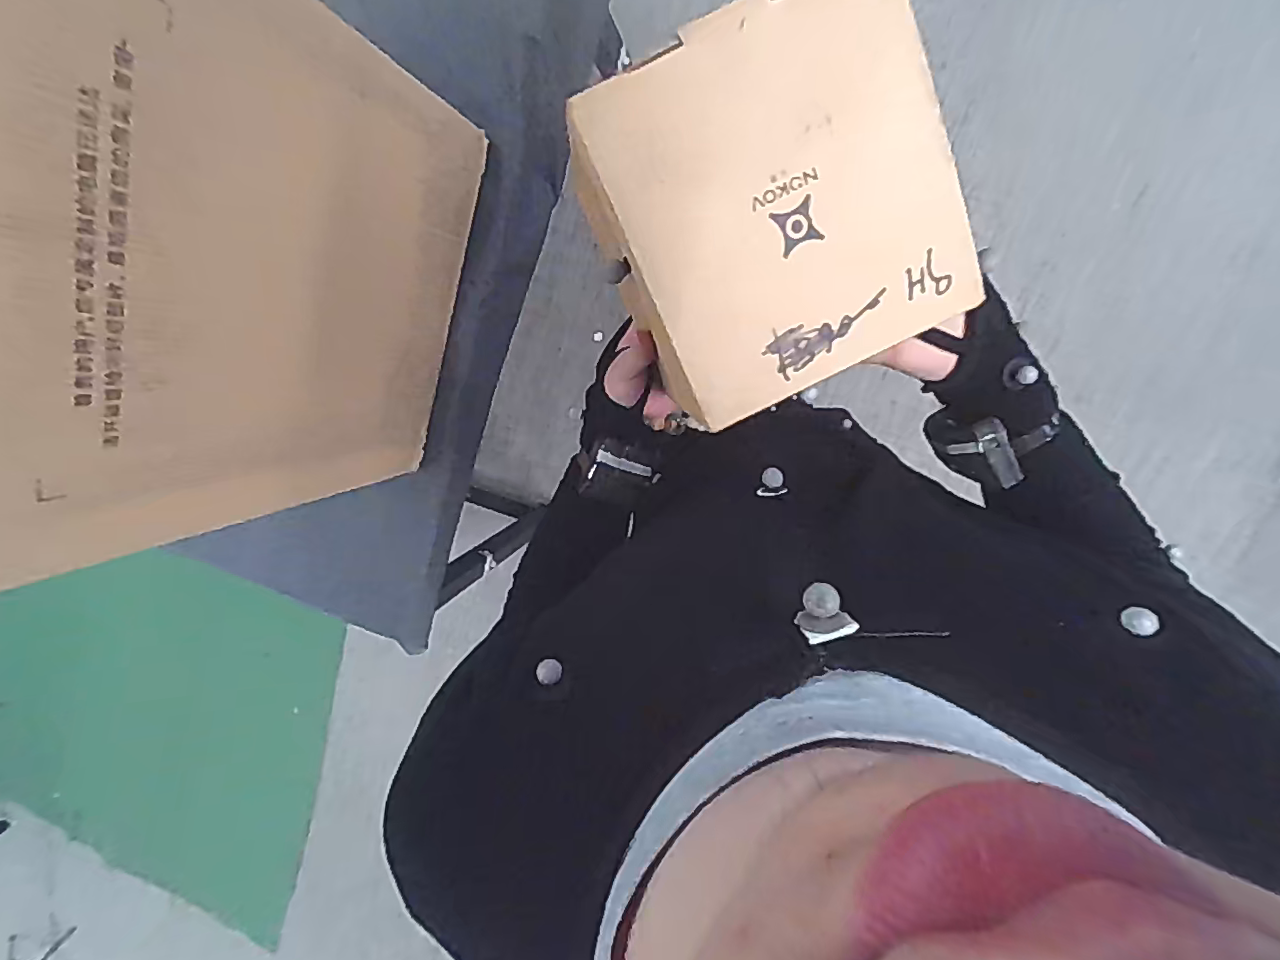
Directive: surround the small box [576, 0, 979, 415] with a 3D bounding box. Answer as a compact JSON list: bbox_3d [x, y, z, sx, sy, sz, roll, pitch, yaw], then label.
[{"bbox_3d":[0.068,-0.162,0.349,0.168,0.176,0.179,-25,106,2],"label":"small box"}]
